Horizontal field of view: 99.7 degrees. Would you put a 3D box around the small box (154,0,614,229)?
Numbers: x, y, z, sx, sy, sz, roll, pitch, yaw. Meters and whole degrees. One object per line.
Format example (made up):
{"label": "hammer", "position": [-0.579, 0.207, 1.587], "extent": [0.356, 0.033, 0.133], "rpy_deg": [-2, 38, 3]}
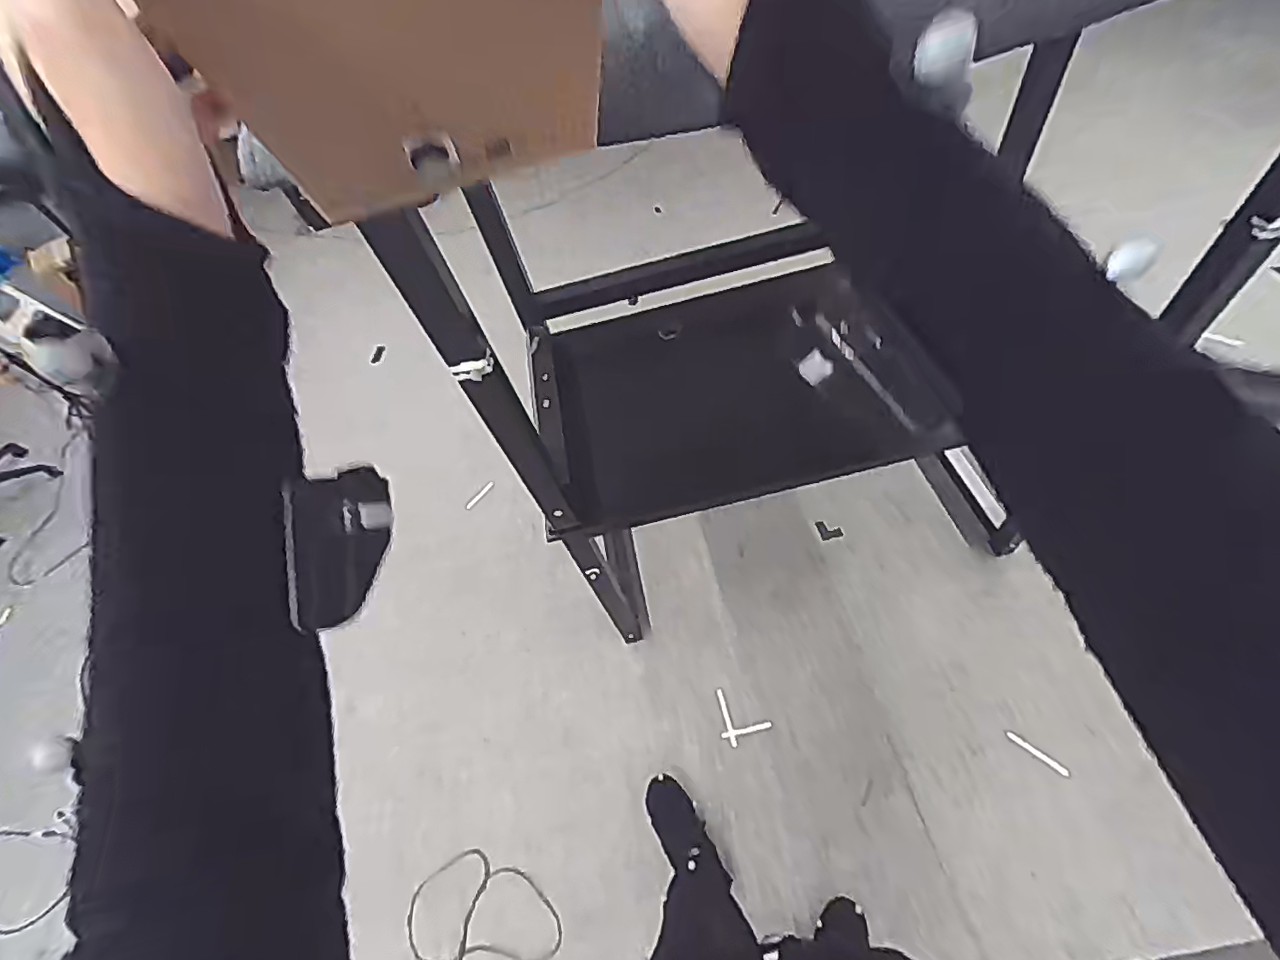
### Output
{"label": "small box", "position": [-0.118, -0.249, 0.233], "extent": [0.168, 0.176, 0.179], "rpy_deg": [-22, 89, -7]}
